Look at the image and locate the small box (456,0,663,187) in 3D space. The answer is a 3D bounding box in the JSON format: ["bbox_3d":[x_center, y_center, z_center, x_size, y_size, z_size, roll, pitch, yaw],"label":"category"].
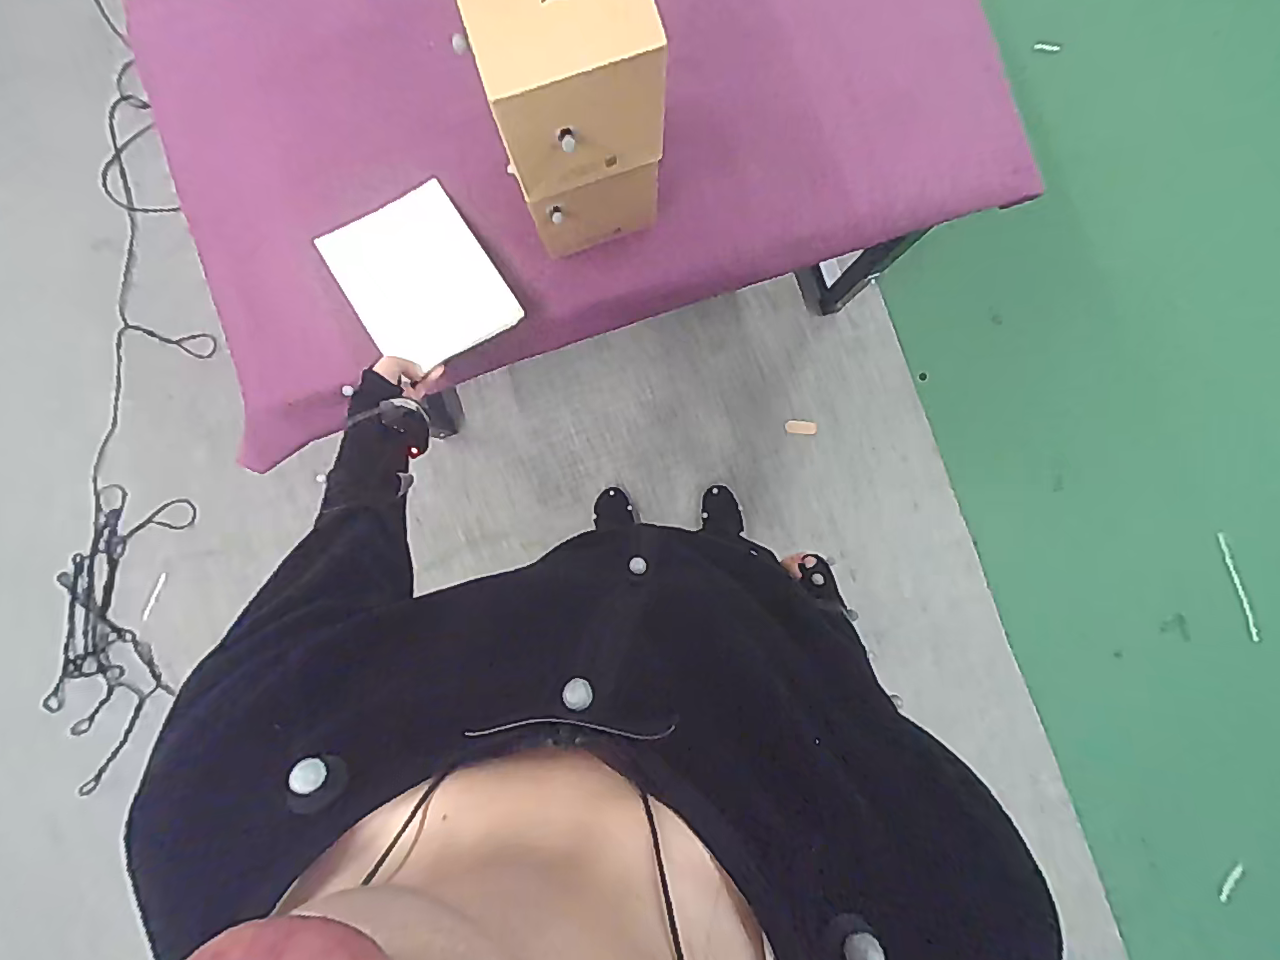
[{"bbox_3d":[-0.079,-0.433,0.552,0.168,0.176,0.179,-18,88,0],"label":"small box"}]
